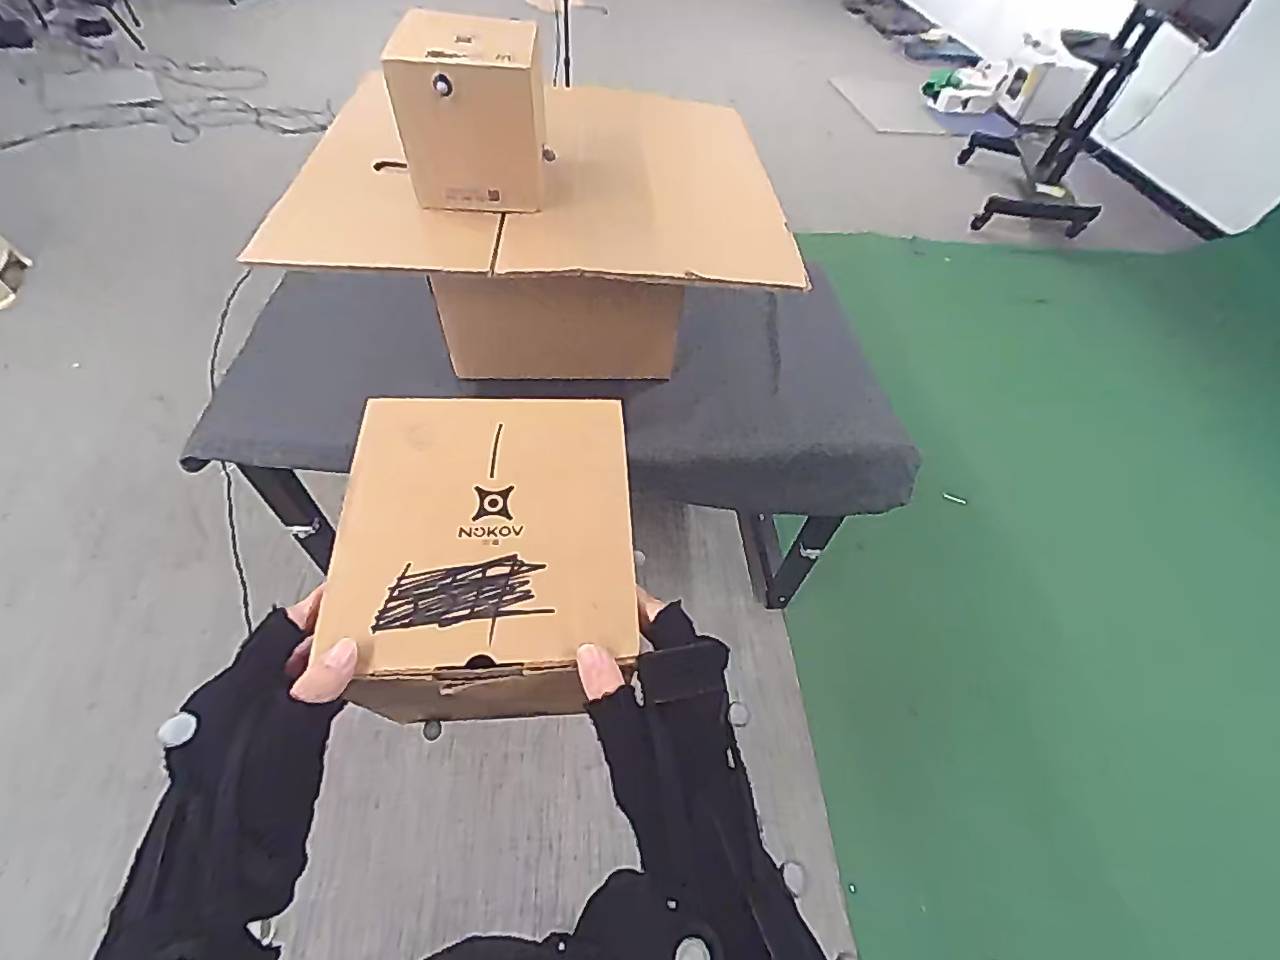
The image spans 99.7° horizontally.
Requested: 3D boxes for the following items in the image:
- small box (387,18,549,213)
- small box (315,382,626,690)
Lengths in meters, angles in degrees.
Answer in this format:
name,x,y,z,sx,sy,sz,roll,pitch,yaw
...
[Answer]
name,x,y,z,sx,sy,sz,roll,pitch,yaw
small box,-0.213,-0.486,0.727,0.168,0.176,0.179,0,53,-4
small box,-0.098,0.050,0.395,0.168,0.176,0.179,0,58,-7
